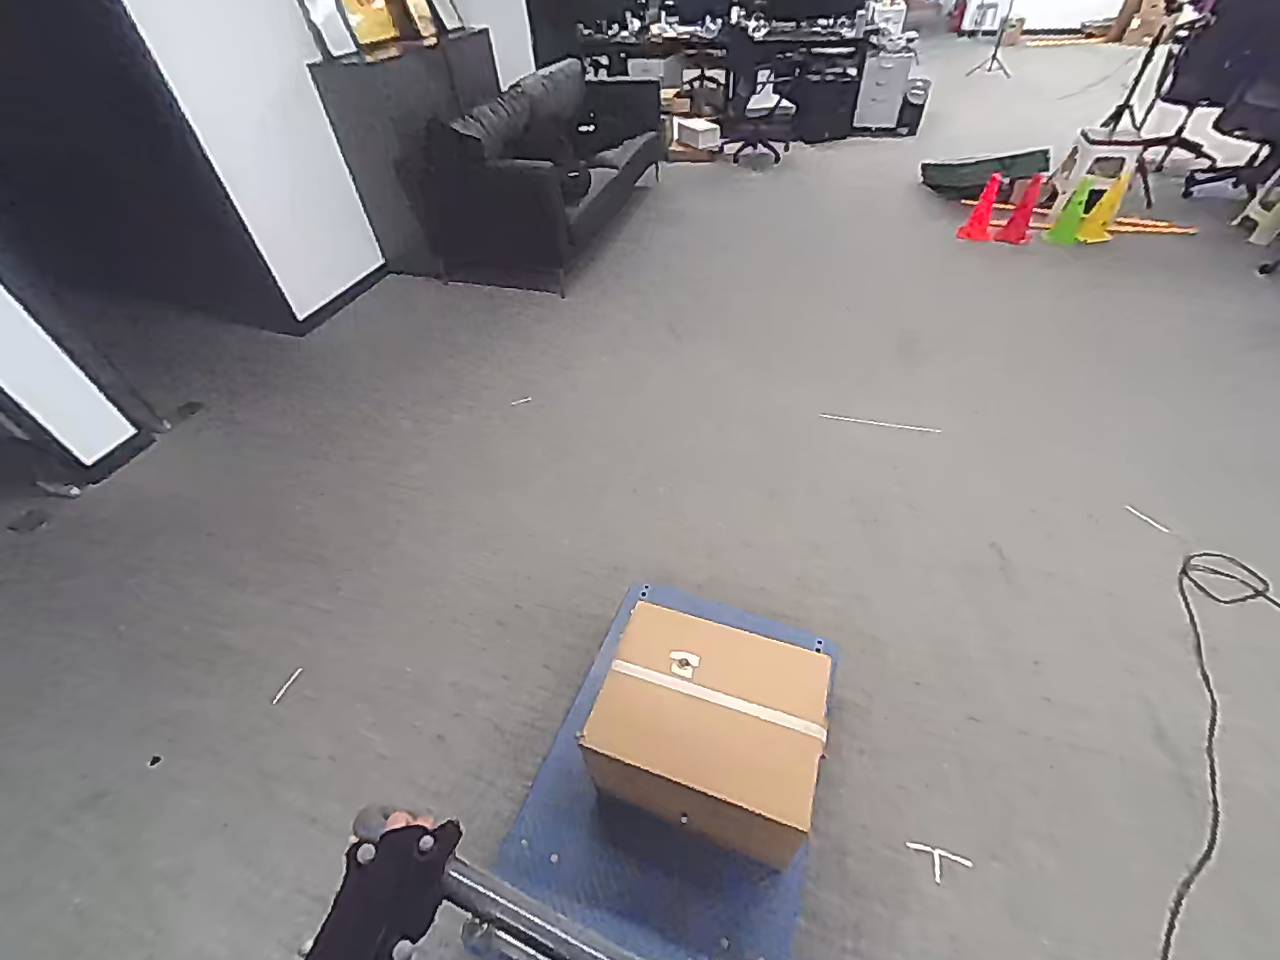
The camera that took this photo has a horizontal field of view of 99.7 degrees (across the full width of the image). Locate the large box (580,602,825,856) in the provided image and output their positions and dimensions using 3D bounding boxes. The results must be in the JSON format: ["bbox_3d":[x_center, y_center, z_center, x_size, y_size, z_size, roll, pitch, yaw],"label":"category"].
[{"bbox_3d":[0.139,0.508,1.120,0.408,0.320,0.320,12,47,18],"label":"large box"}]
